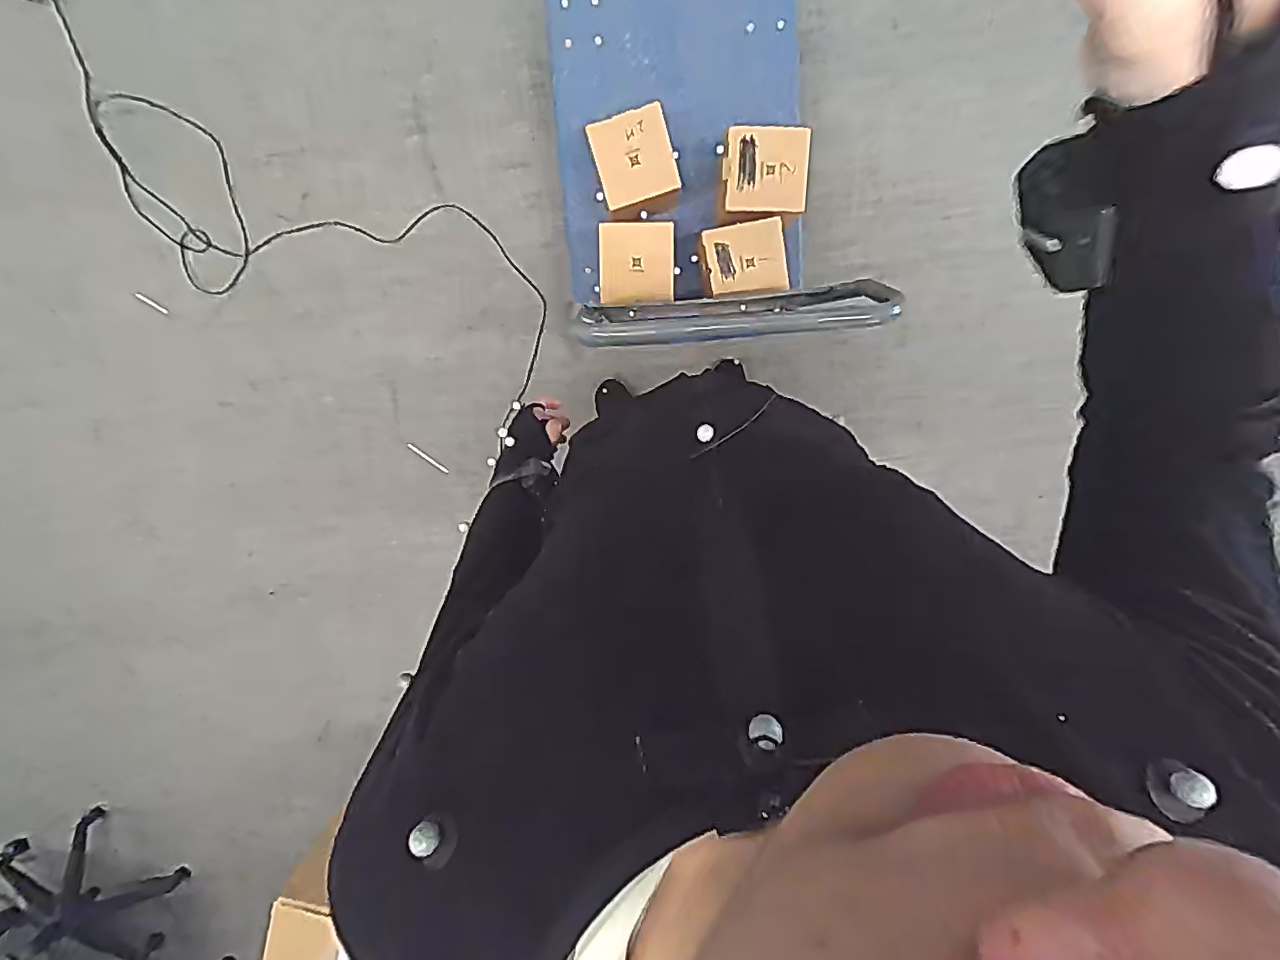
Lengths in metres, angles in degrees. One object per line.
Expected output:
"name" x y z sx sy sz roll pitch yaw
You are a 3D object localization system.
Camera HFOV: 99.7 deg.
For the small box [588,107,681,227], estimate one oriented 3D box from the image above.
"small box" -0.009 -0.694 1.226 0.168 0.176 0.179 -16 101 3
